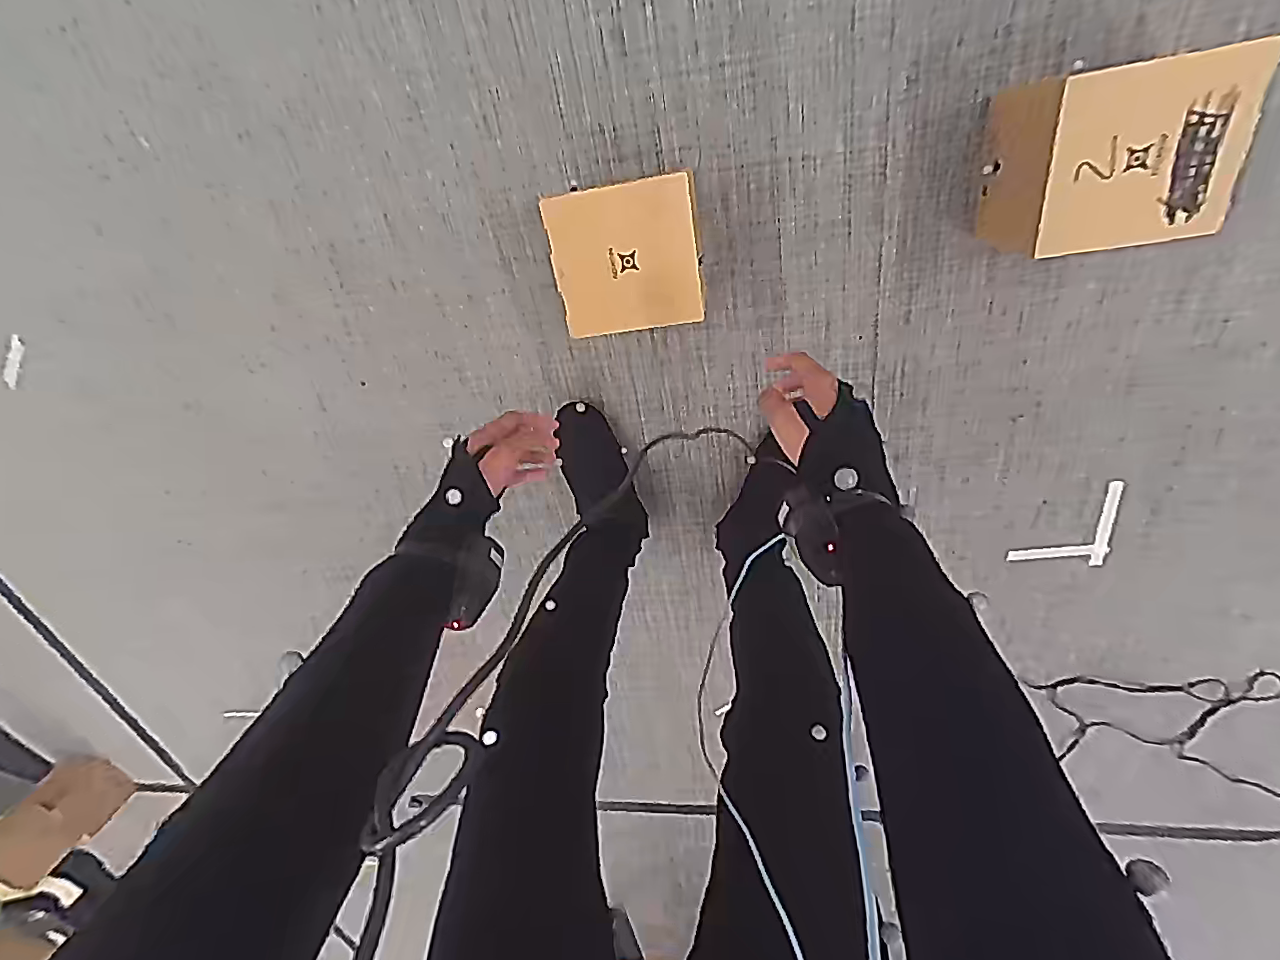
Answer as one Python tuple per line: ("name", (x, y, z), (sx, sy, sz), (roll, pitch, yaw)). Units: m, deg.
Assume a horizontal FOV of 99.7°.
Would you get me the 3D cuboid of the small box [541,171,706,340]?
("small box", (-0.008, -0.297, 0.709), (0.179, 0.176, 0.168), (-4, 120, 12))
